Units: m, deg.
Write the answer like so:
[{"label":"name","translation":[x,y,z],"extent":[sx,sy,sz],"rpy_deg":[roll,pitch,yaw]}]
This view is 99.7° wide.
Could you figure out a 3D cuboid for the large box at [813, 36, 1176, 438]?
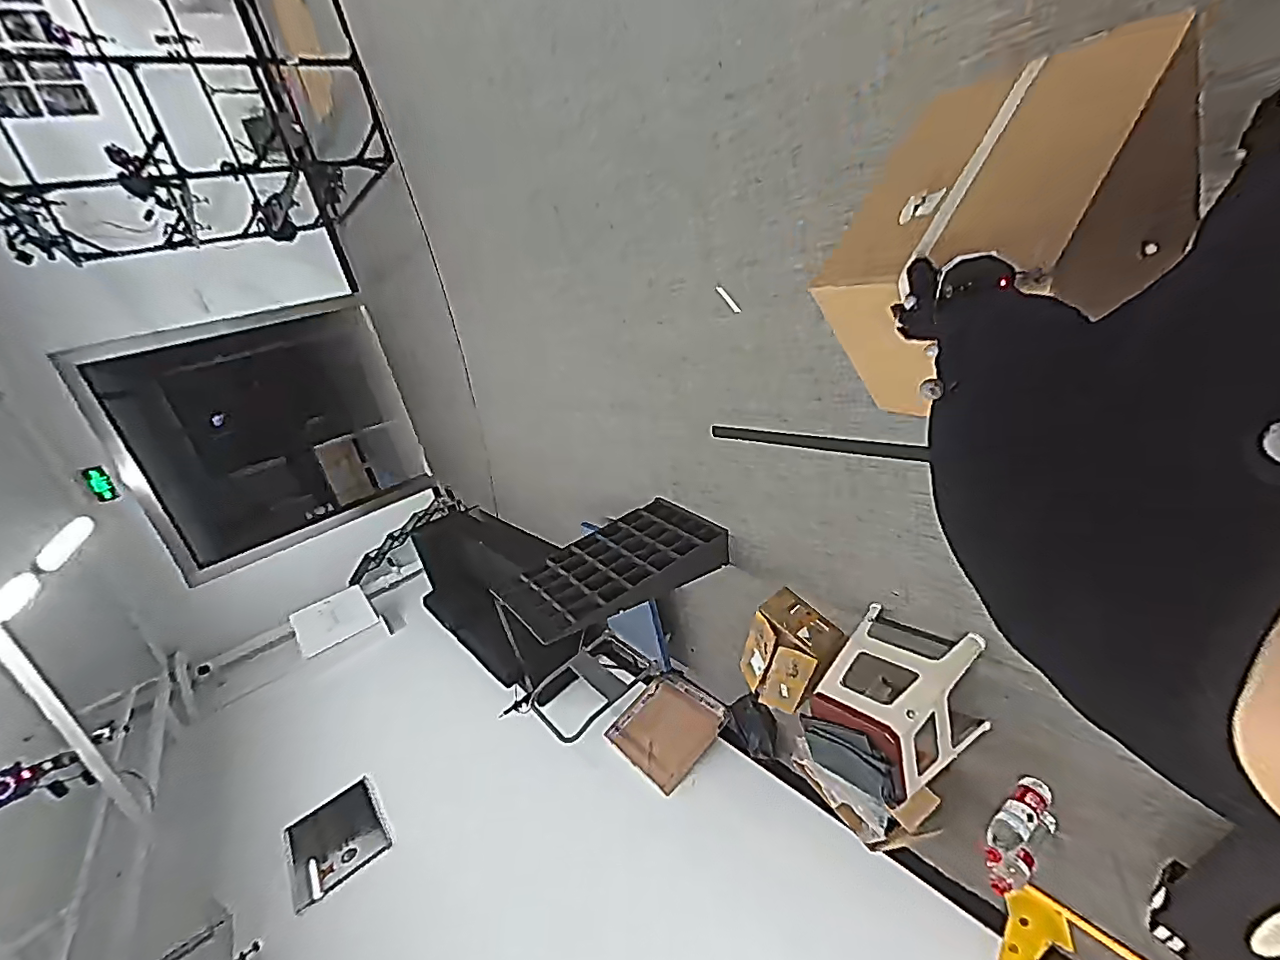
[{"label":"large box","translation":[0.543,-0.329,0.822],"extent":[0.320,0.408,0.320],"rpy_deg":[40,168,-35]}]
